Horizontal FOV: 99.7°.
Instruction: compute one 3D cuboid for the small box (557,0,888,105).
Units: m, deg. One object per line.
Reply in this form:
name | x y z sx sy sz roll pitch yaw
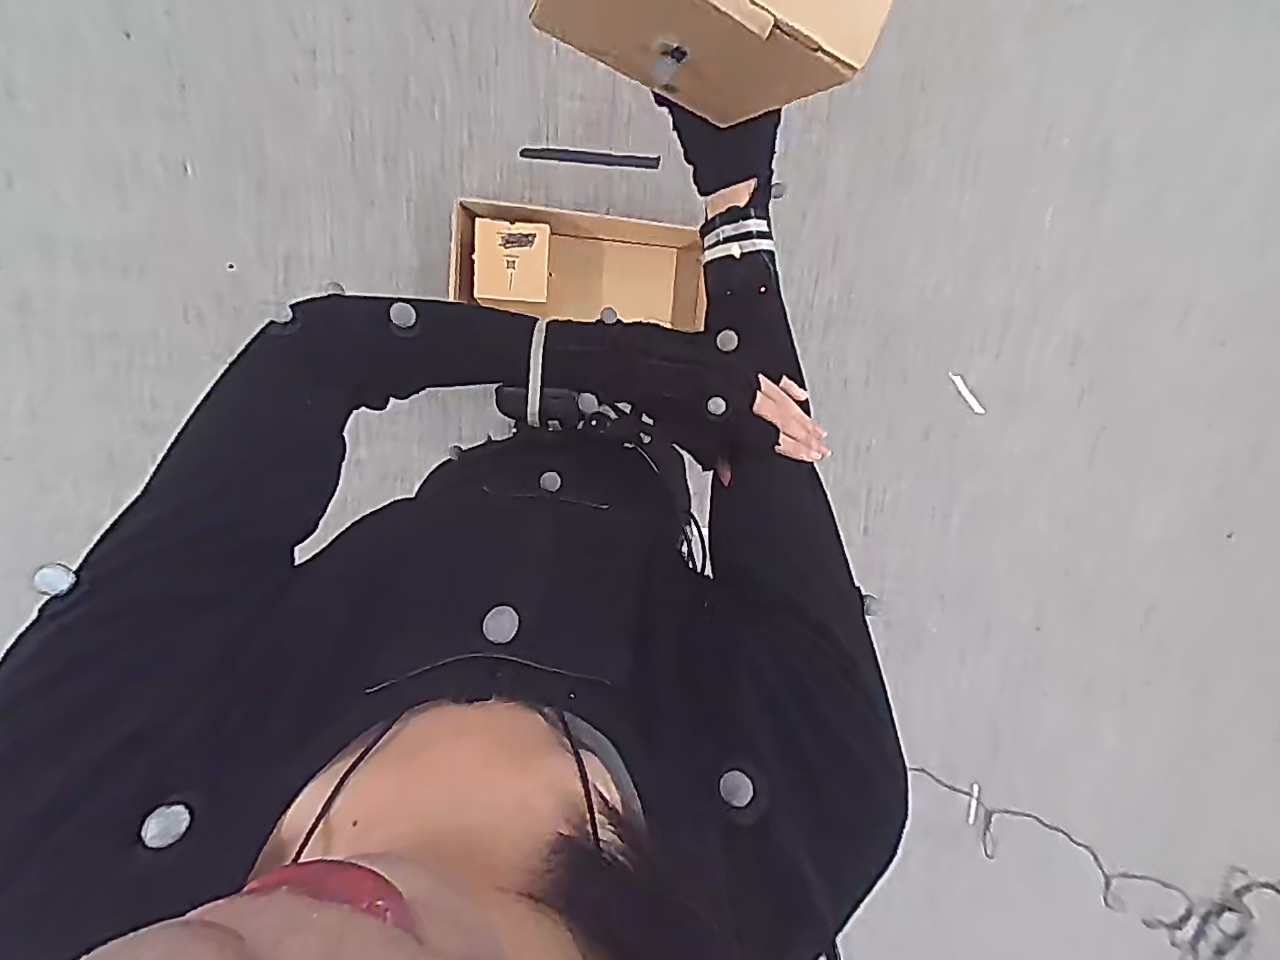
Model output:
small box | 0.050 -0.348 0.302 0.168 0.176 0.179 11 110 -24
